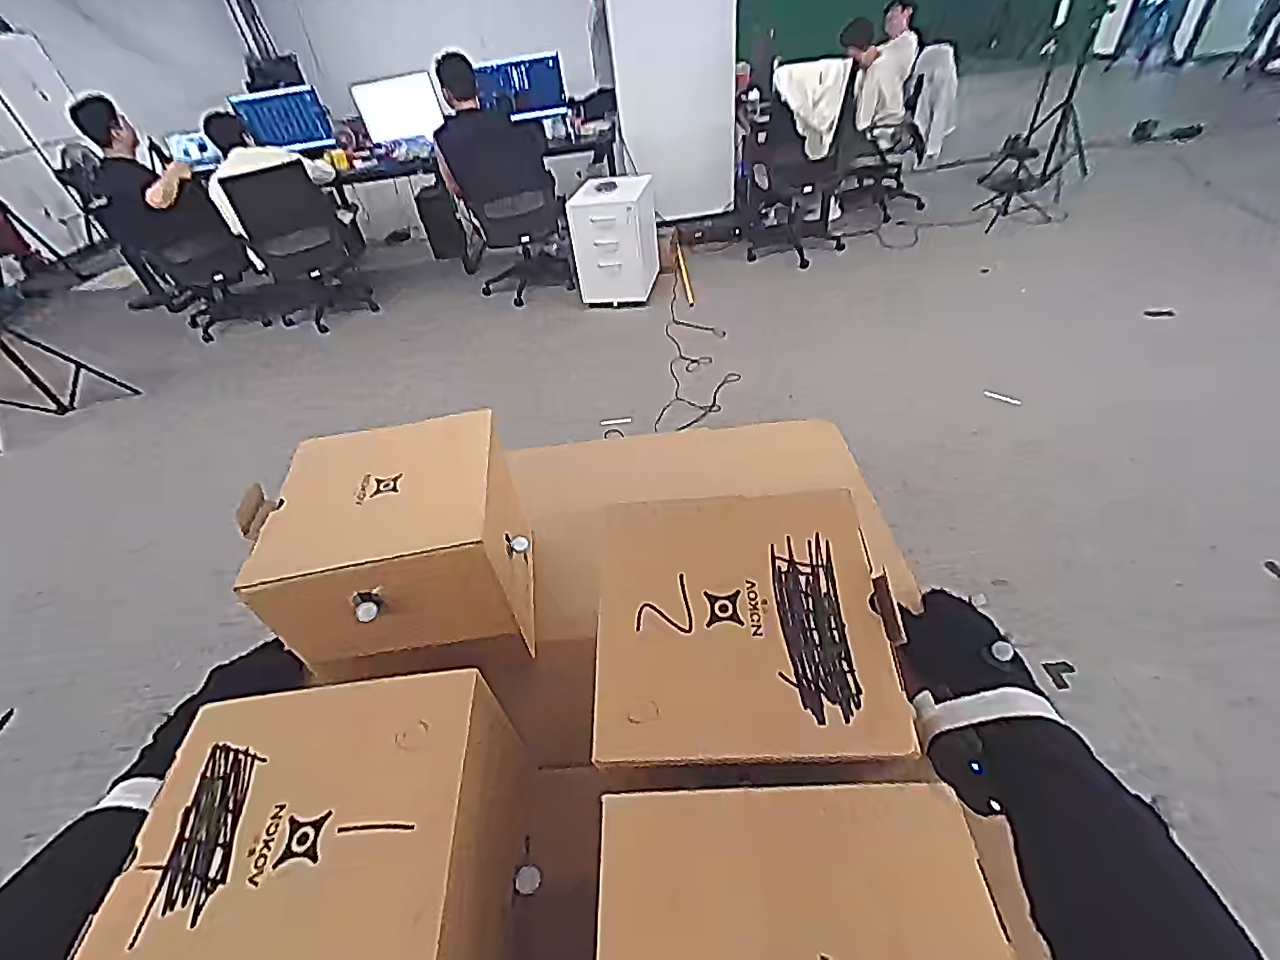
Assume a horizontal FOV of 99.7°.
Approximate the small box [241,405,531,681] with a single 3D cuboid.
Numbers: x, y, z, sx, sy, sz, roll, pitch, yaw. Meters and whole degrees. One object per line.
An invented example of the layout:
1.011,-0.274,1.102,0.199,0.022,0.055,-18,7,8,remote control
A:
-0.201,0.059,0.496,0.179,0.176,0.168,-11,43,-2,small box
